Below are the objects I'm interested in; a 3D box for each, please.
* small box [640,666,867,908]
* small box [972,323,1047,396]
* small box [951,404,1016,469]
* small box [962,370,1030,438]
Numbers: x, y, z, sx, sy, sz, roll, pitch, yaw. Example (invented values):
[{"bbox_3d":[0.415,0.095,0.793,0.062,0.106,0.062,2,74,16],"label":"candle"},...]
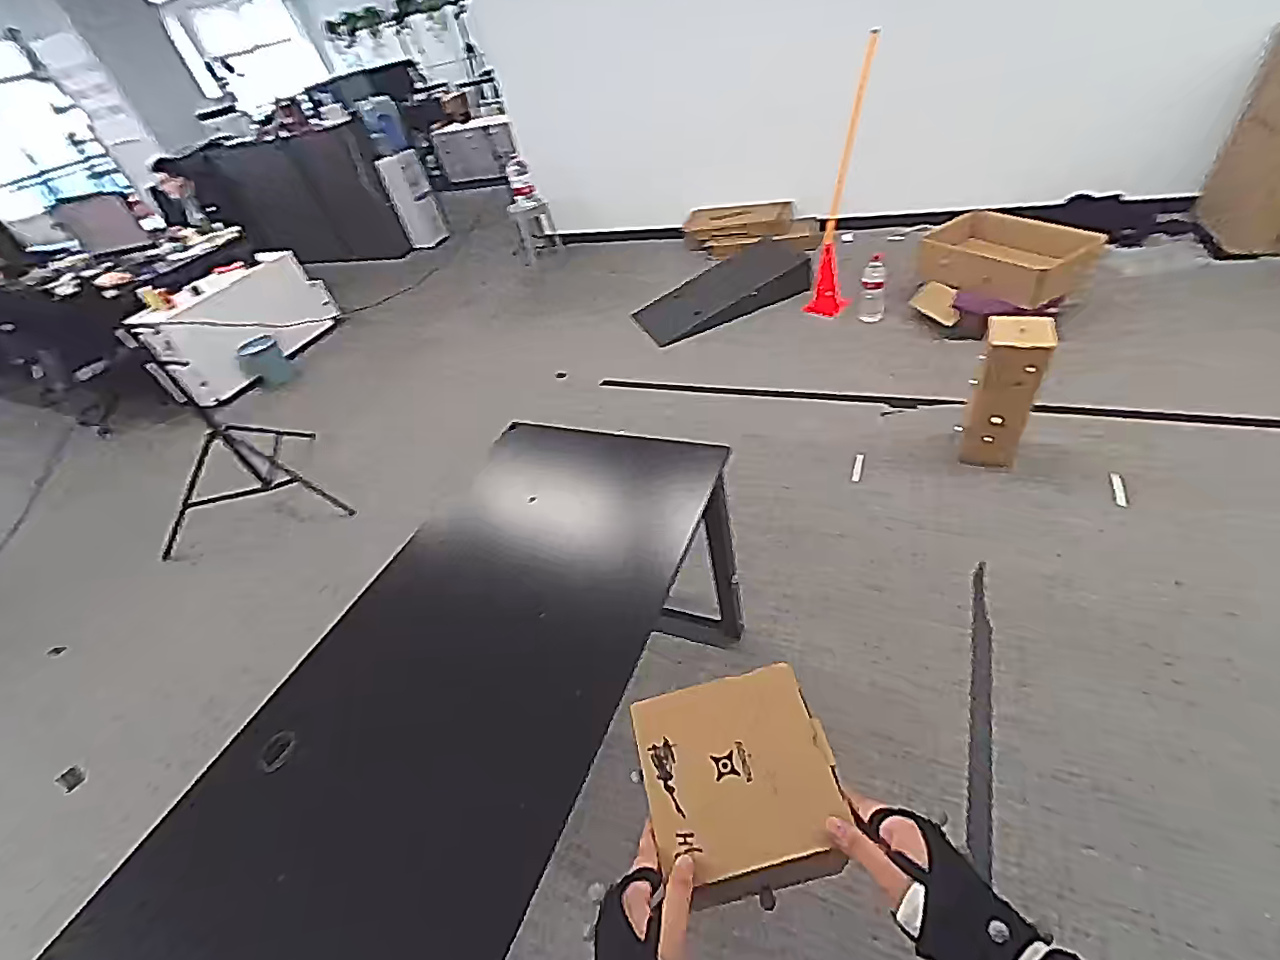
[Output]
[{"bbox_3d":[0.107,0.324,0.569,0.179,0.176,0.168,-13,45,-2],"label":"small box"},{"bbox_3d":[1.191,-0.388,1.750,0.168,0.176,0.179,9,47,23],"label":"small box"},{"bbox_3d":[1.248,-0.158,1.974,0.179,0.176,0.168,10,48,24],"label":"small box"},{"bbox_3d":[1.218,-0.271,1.859,0.168,0.176,0.179,9,48,24],"label":"small box"}]
